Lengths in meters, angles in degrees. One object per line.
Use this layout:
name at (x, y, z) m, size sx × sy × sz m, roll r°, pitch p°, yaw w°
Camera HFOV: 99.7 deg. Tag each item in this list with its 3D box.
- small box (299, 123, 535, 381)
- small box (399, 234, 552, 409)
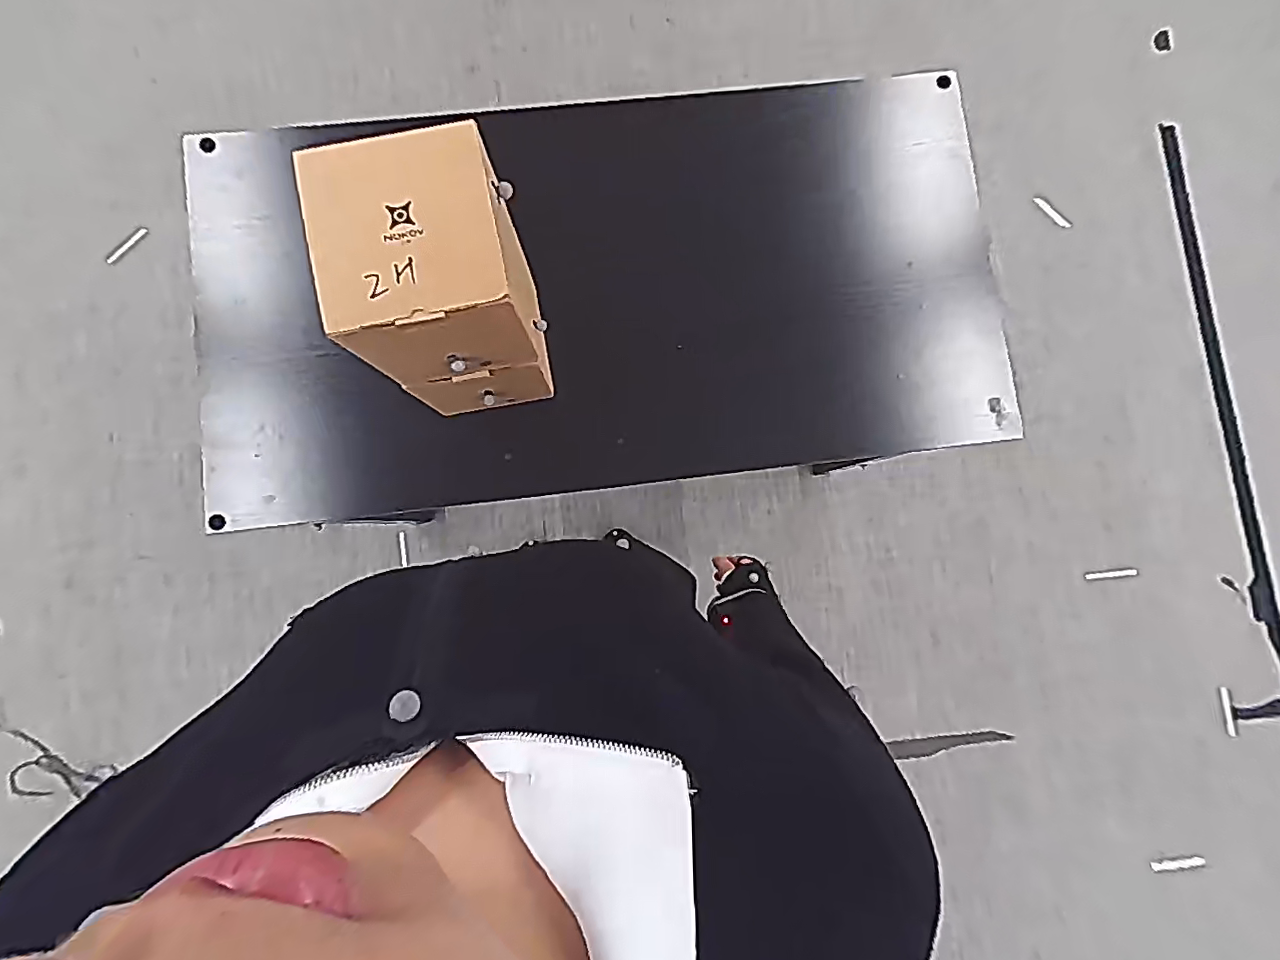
small box at (-0.215, -0.221, 0.565) m, size 0.168 × 0.176 × 0.179 m, roll -12°, pitch 85°, yaw -3°
small box at (-0.220, -0.202, 0.730) m, size 0.168 × 0.176 × 0.179 m, roll -11°, pitch 85°, yaw -3°
